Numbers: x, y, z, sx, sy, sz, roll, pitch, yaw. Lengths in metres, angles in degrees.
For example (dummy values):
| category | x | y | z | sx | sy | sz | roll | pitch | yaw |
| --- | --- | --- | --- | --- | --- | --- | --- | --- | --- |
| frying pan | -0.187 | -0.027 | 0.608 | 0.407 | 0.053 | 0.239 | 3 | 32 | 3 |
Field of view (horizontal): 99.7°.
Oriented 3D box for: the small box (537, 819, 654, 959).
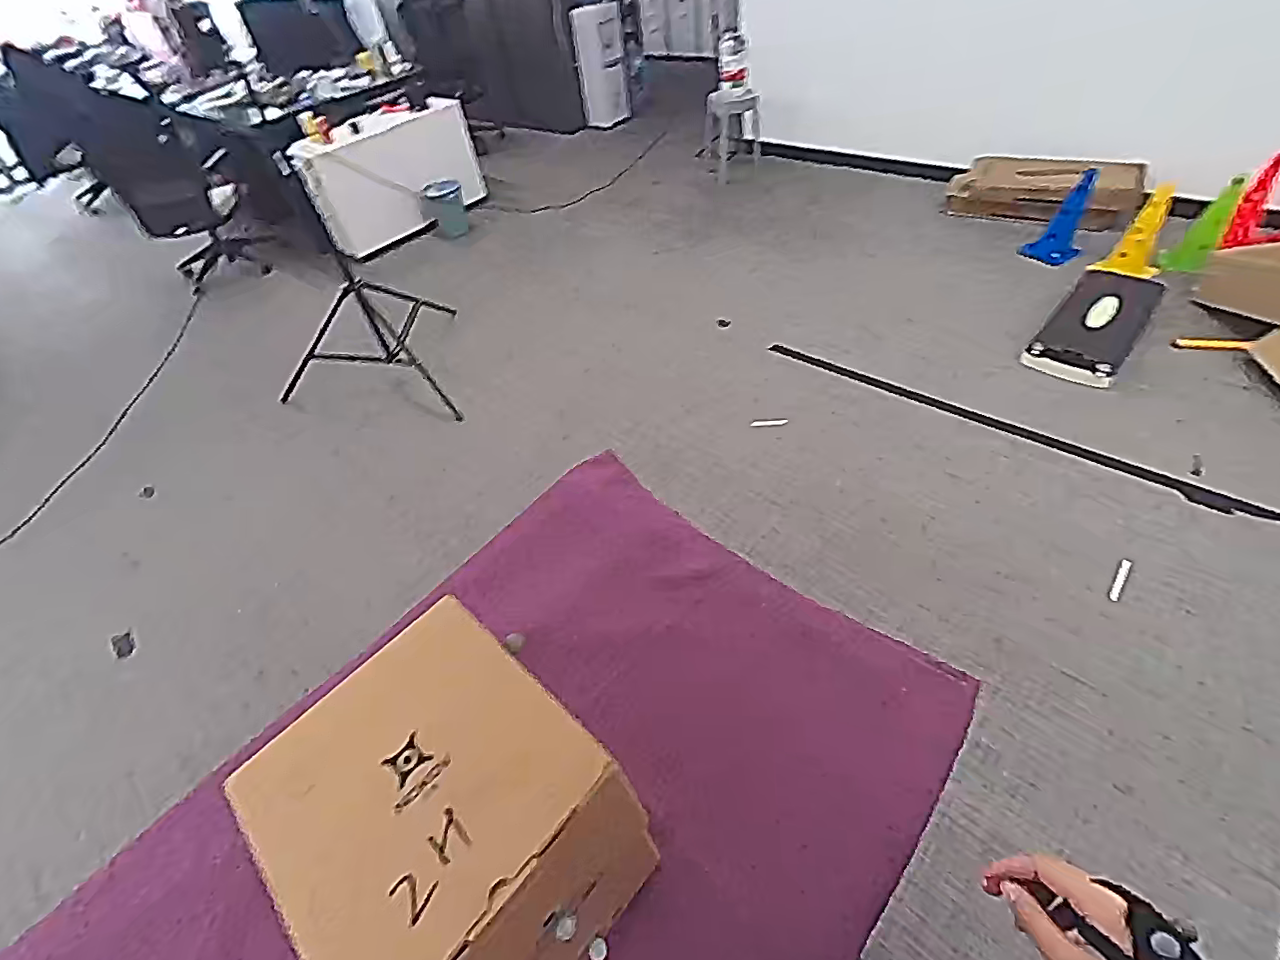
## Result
| category | x | y | z | sx | sy | sz | roll | pitch | yaw |
| --- | --- | --- | --- | --- | --- | --- | --- | --- | --- |
| small box | -0.106 | 0.335 | 0.496 | 0.179 | 0.176 | 0.168 | 32 | 60 | 31 |

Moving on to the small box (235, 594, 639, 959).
| category | x | y | z | sx | sy | sz | roll | pitch | yaw |
| --- | --- | --- | --- | --- | --- | --- | --- | --- | --- |
| small box | -0.121 | 0.221 | 0.377 | 0.179 | 0.176 | 0.168 | 32 | 60 | 31 |
